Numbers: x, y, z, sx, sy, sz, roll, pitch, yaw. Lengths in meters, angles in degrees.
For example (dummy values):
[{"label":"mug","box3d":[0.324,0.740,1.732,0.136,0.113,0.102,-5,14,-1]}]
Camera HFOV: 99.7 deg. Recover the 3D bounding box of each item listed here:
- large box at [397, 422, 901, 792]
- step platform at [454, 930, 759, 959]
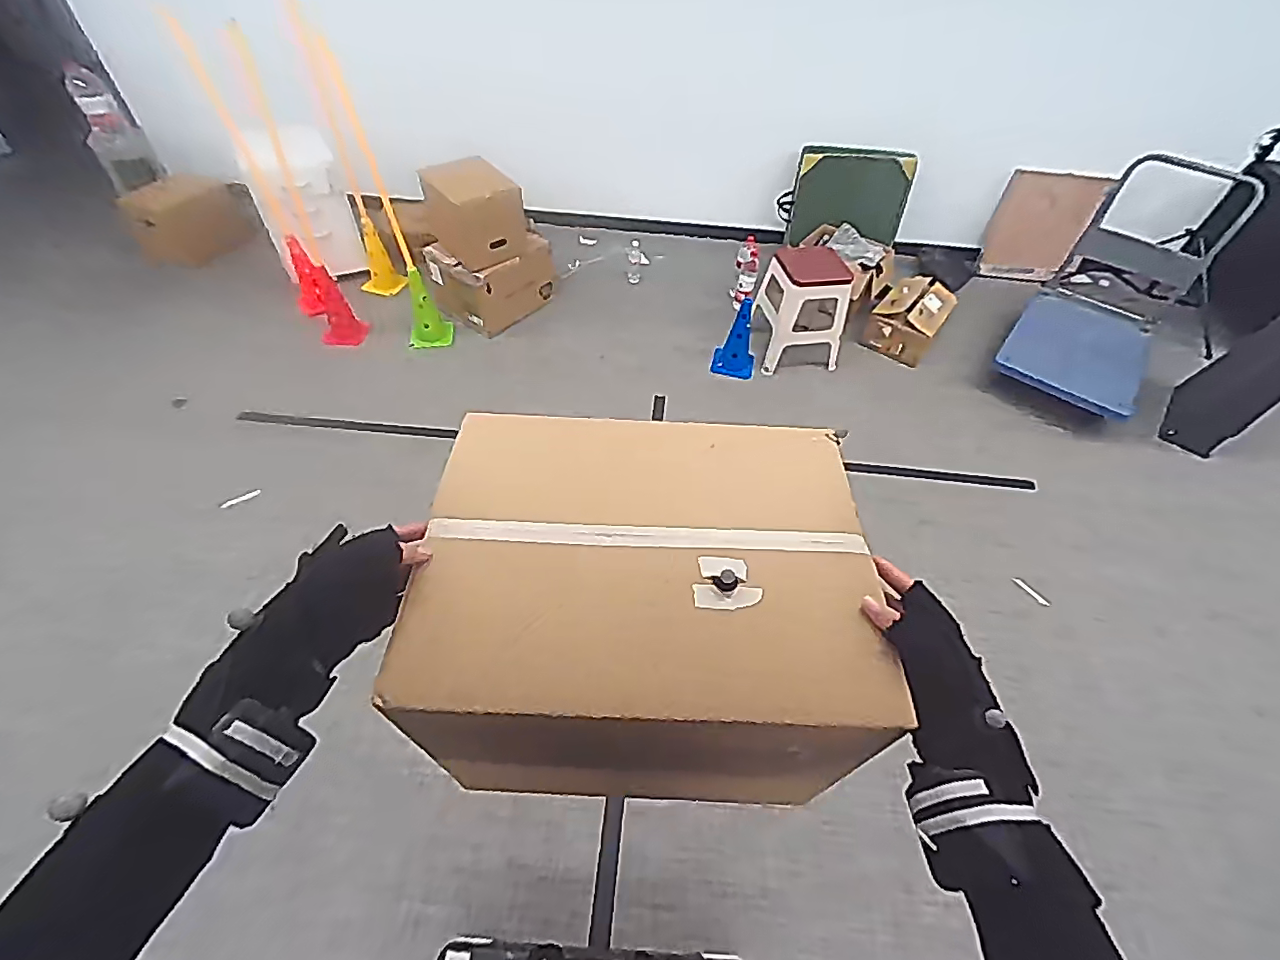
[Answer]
[{"label":"large box","box3d":[0.004,0.155,0.626,0.408,0.320,0.320,3,51,-1]},{"label":"step platform","box3d":[-0.070,1.129,1.108,0.684,0.204,0.286,5,50,-1]}]
